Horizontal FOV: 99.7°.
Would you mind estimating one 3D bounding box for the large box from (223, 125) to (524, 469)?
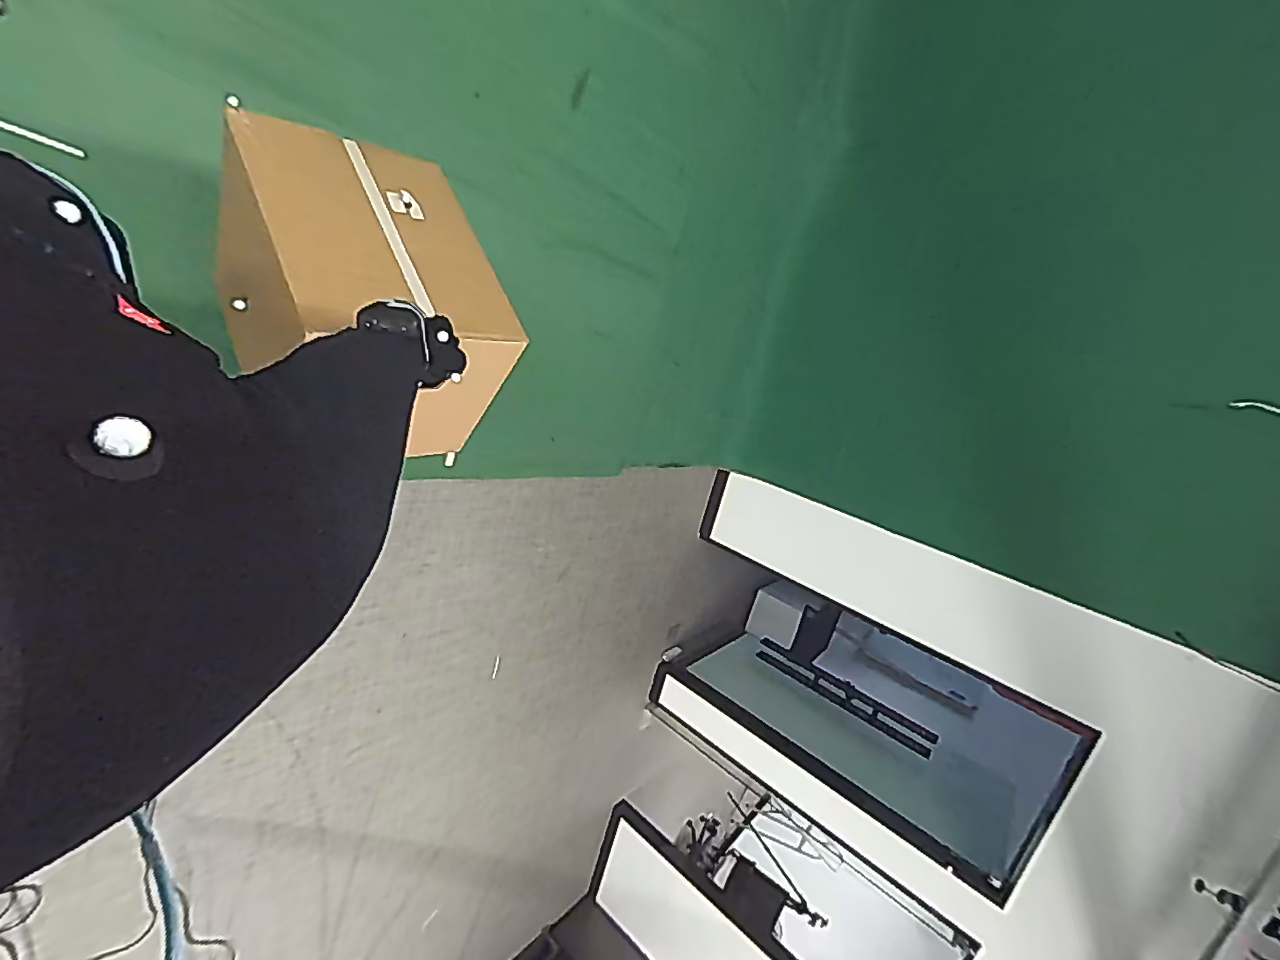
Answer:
[{"bbox_3d":[-0.461,-0.280,0.907,0.320,0.408,0.320,-11,156,-45],"label":"large box"}]
